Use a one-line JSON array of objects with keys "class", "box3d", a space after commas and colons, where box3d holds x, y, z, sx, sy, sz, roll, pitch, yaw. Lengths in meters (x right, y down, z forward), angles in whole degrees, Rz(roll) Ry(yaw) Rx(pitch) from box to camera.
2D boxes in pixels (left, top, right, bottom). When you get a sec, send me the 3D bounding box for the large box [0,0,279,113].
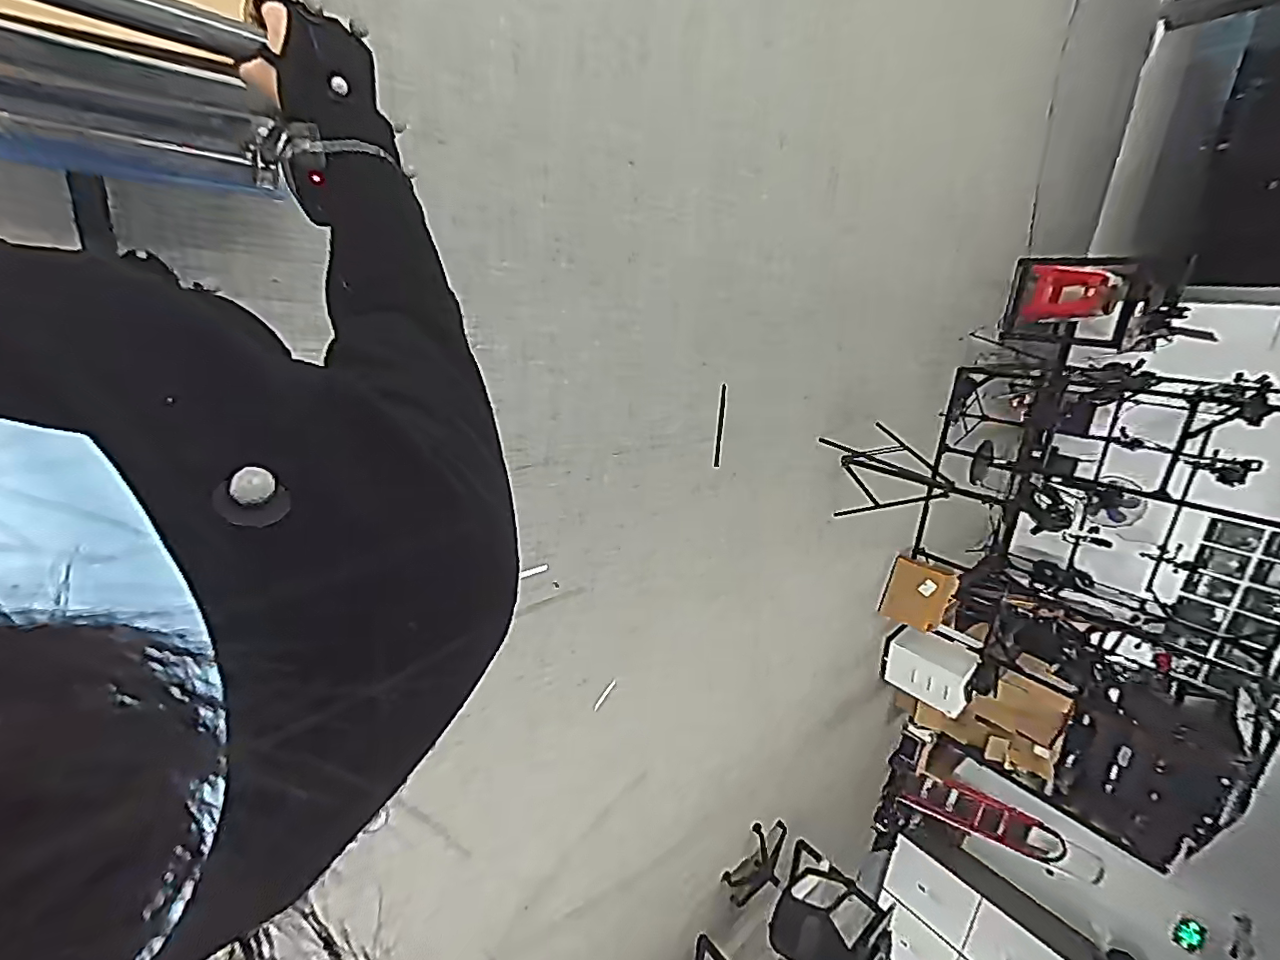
[{"class": "large box", "box3d": [-0.755, -0.715, 0.691, 0.408, 0.320, 0.320, -16, 117, -40]}]
